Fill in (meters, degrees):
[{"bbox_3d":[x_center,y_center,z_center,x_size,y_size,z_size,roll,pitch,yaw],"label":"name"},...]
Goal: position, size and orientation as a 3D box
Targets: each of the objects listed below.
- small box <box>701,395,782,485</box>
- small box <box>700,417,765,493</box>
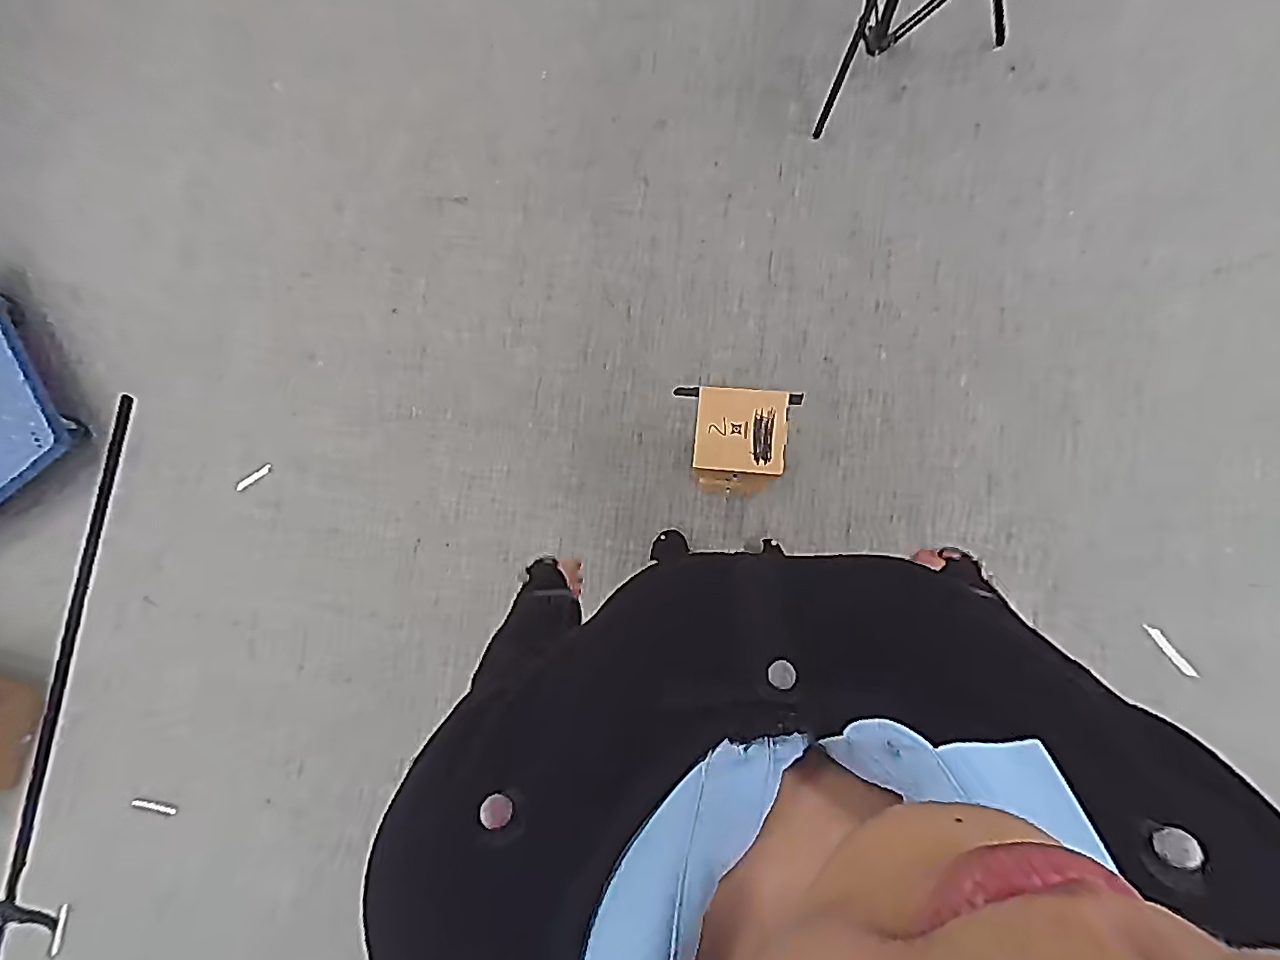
[{"bbox_3d":[0.236,-0.090,1.286,0.168,0.176,0.179,7,85,8],"label":"small box"},{"bbox_3d":[0.251,-0.062,1.446,0.168,0.176,0.179,5,83,7],"label":"small box"}]
